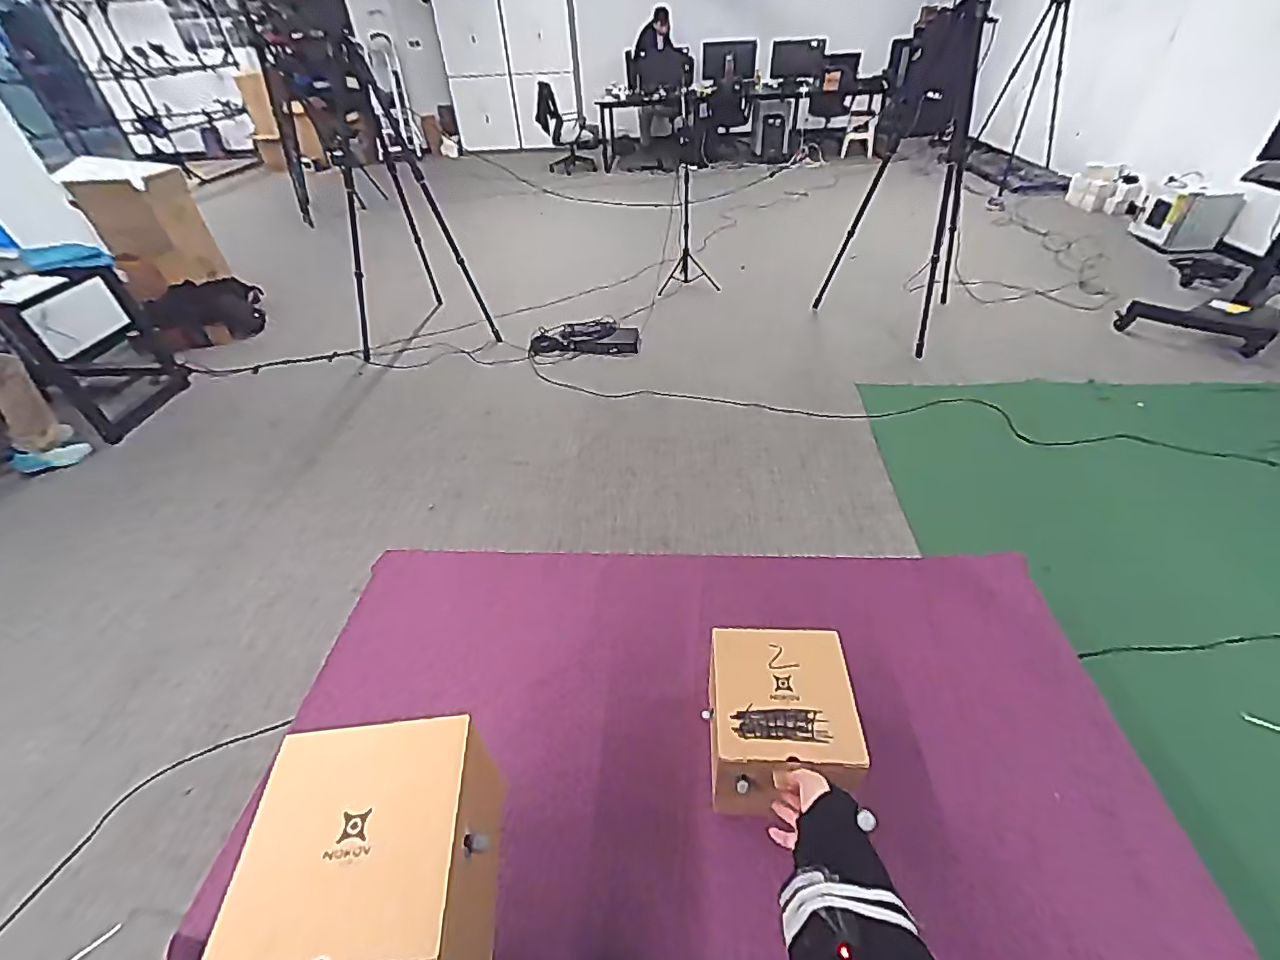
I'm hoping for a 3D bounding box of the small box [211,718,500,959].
[{"bbox_3d":[-0.230,0.348,0.497,0.168,0.176,0.179,-5,43,-4],"label":"small box"}]
